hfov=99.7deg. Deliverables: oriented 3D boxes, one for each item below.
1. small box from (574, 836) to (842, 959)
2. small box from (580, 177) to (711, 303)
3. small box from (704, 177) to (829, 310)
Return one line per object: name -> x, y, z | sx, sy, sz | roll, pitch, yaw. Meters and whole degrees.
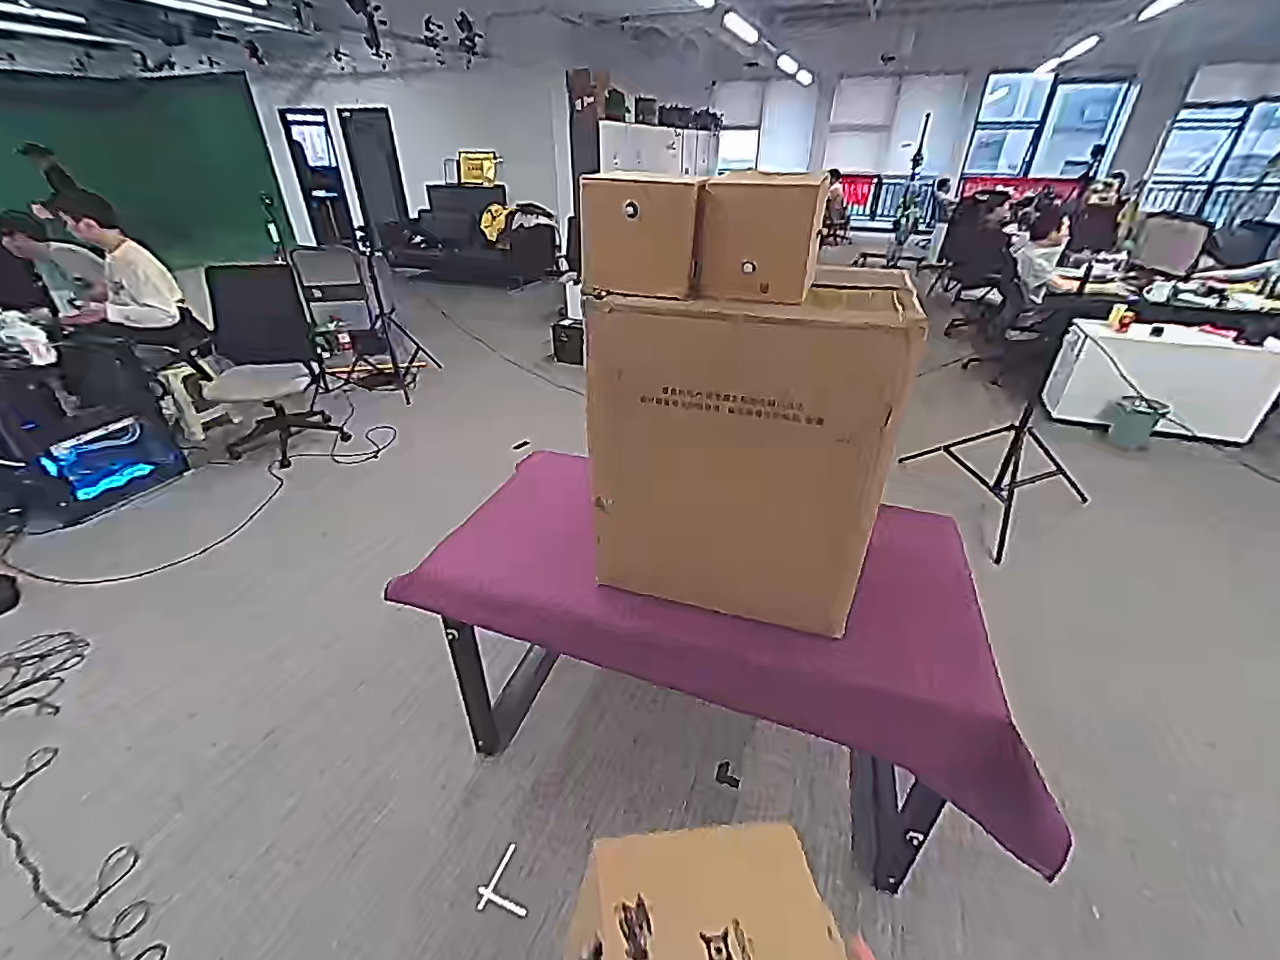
small box -> 0.047, 0.407, 0.411 | 0.179, 0.176, 0.168 | 6, 25, -14
small box -> 0.011, -0.399, 0.895 | 0.179, 0.176, 0.168 | 11, 33, 12
small box -> 0.203, -0.390, 0.882 | 0.168, 0.176, 0.179 | 11, 35, 18
